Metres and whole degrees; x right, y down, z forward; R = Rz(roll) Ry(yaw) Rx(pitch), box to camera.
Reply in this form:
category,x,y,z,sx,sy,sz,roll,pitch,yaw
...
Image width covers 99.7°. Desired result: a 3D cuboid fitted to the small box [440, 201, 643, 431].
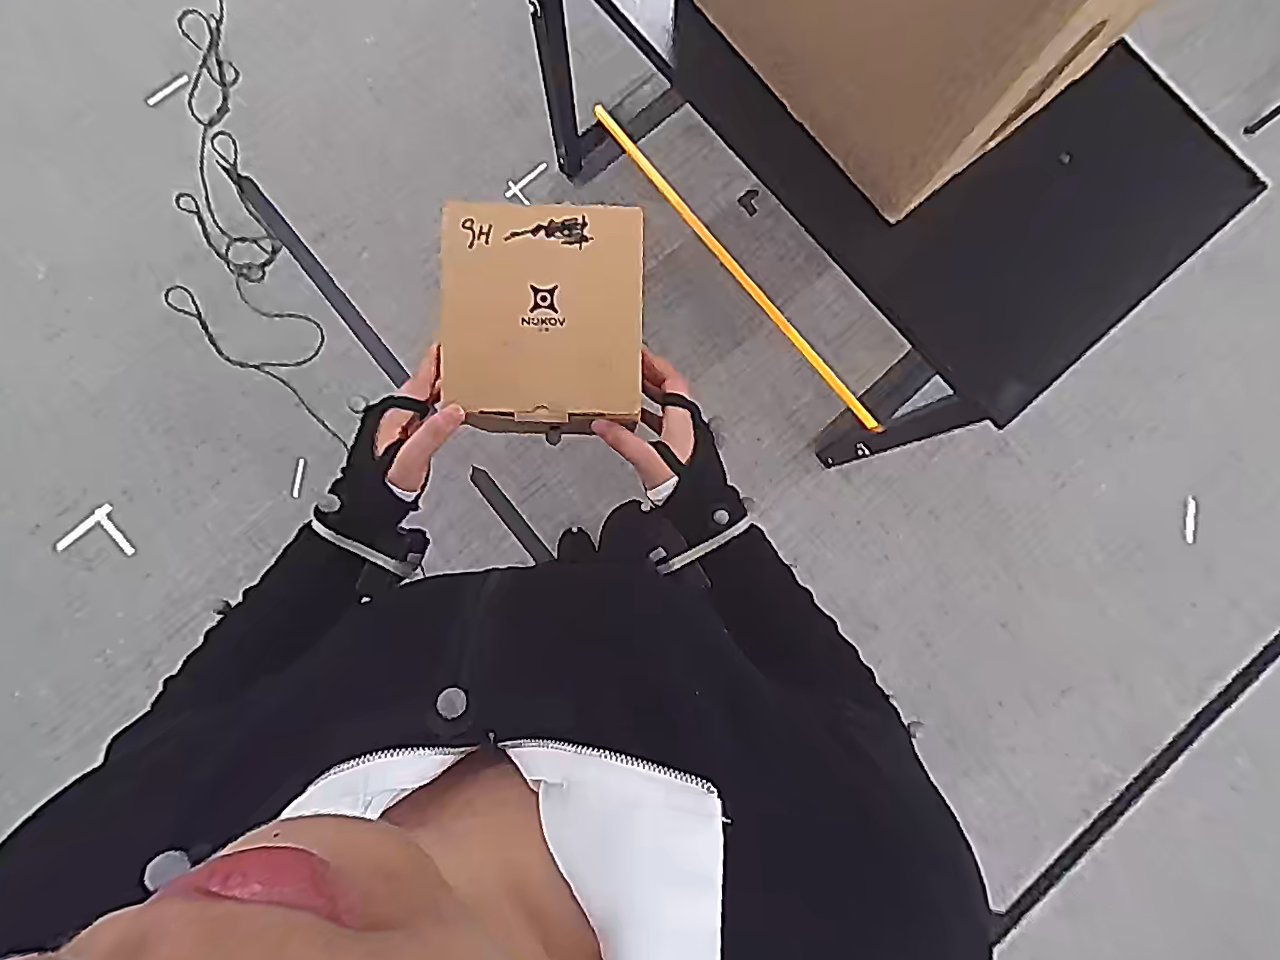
category,x,y,z,sx,sy,sz,roll,pitch,yaw
small box,-0.082,-0.139,0.520,0.168,0.176,0.179,0,91,-2
